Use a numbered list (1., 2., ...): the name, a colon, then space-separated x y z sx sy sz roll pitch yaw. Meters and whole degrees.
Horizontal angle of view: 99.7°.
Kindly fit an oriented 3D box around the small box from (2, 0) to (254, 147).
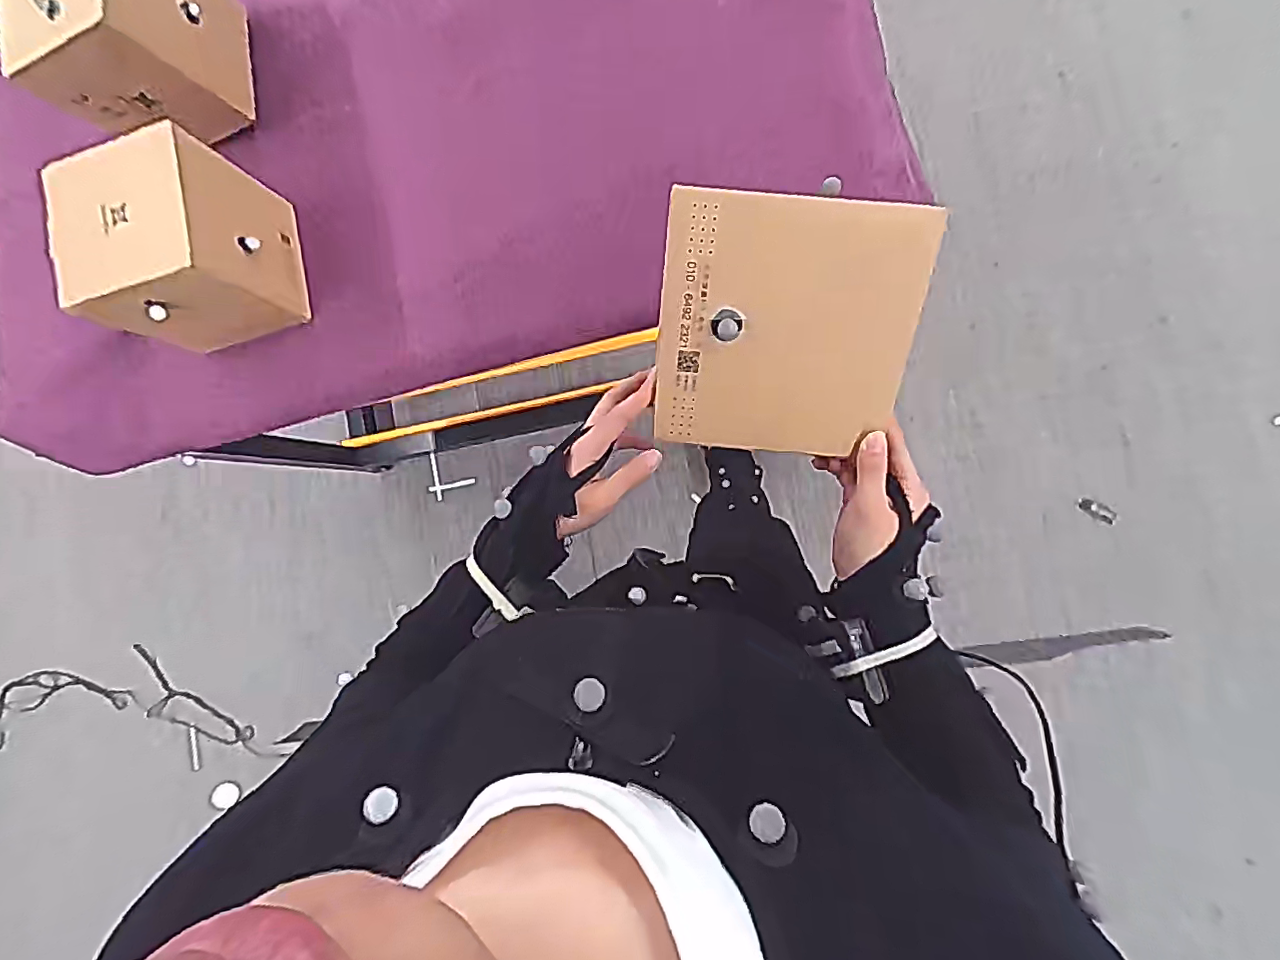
1. small box: -0.618 -0.541 0.658 0.179 0.168 0.176 -9 85 16

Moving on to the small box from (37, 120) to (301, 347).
1. small box: -0.542 -0.276 0.648 0.179 0.176 0.168 -13 85 9
